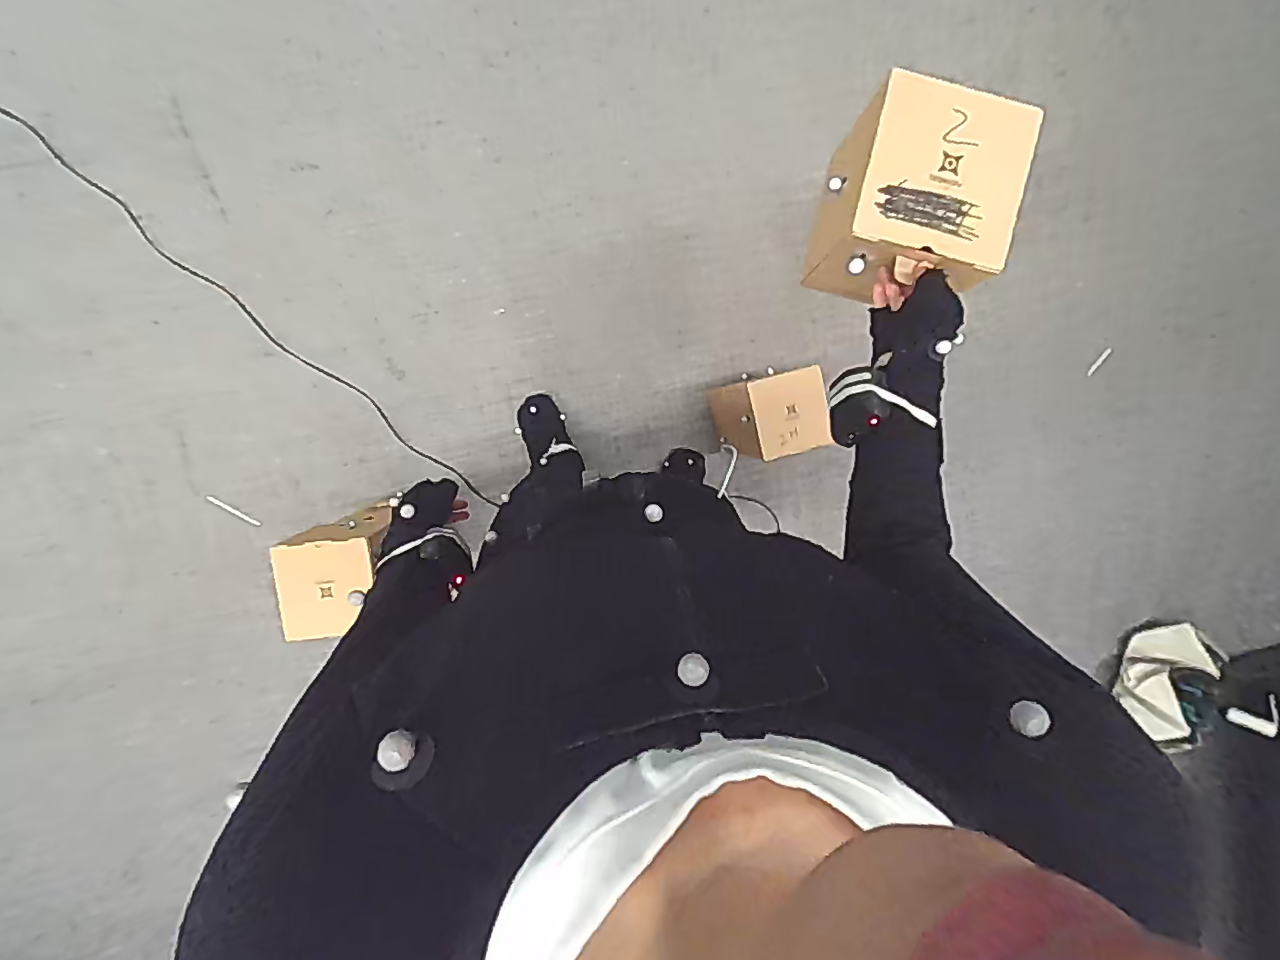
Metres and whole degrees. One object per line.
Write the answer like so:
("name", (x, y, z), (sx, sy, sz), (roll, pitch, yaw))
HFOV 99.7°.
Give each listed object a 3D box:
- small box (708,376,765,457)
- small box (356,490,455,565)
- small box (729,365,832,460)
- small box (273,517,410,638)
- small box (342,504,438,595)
("small box", (0.288, -0.171, 1.403), (0.168, 0.176, 0.179), (-15, 99, -4))
("small box", (-0.579, 0.124, 1.356), (0.168, 0.176, 0.179), (-10, 98, -4))
("small box", (0.314, -0.154, 1.242), (0.168, 0.176, 0.179), (-15, 99, -4))
("small box", (-0.557, 0.179, 1.035), (0.168, 0.176, 0.179), (-5, 98, -5))
("small box", (-0.564, 0.156, 1.195), (0.168, 0.176, 0.179), (-10, 100, -4))
